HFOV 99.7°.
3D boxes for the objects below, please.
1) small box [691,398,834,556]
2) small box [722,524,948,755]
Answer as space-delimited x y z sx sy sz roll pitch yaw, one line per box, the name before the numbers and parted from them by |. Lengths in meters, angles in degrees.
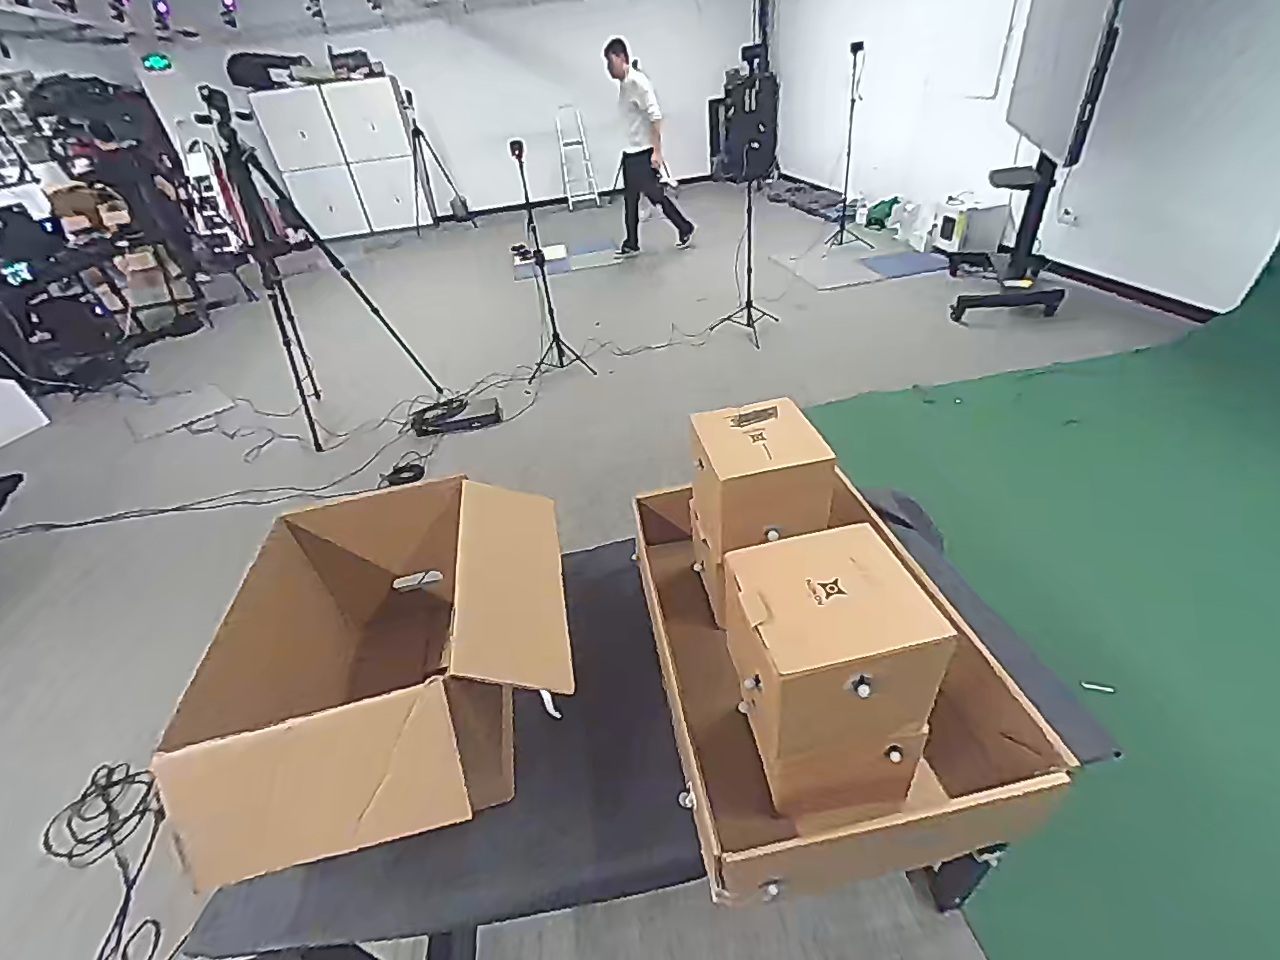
small box | 0.178 -0.003 0.838 0.168 0.176 0.179 -11 39 -4
small box | 0.200 0.179 0.606 0.179 0.176 0.168 -11 38 -5
